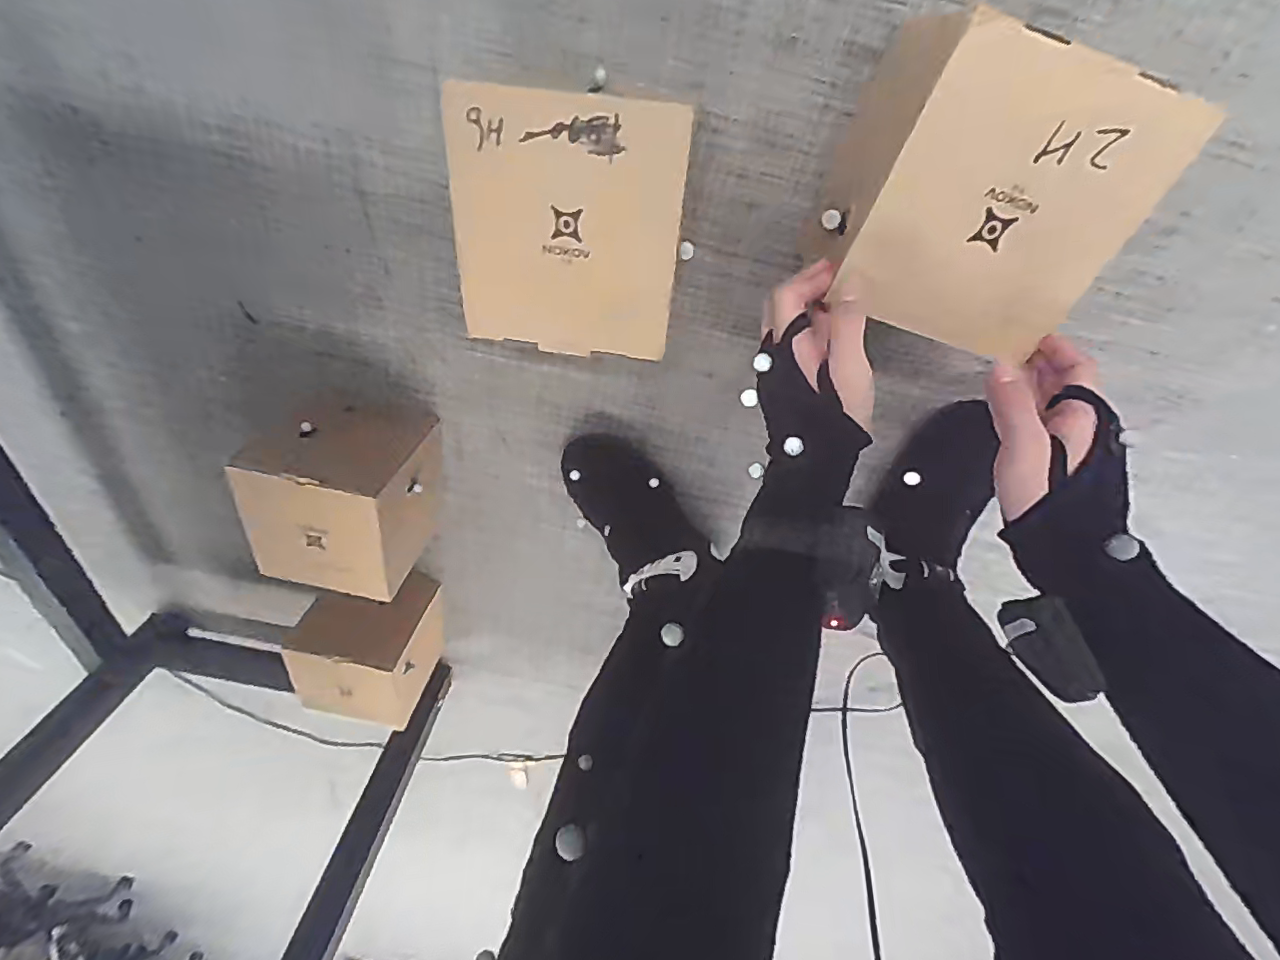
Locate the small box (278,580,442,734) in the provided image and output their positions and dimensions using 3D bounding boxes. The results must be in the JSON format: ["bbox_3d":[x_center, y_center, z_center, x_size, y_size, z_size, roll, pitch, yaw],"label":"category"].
[{"bbox_3d":[-0.432,0.273,0.872,0.168,0.176,0.179,11,126,0],"label":"small box"}]

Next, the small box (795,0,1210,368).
[{"bbox_3d":[0.233,-0.219,0.413,0.168,0.176,0.179,17,126,-6],"label":"small box"}]

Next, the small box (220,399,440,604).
[{"bbox_3d":[-0.364,0.021,0.677,0.168,0.176,0.179,13,127,0],"label":"small box"}]
